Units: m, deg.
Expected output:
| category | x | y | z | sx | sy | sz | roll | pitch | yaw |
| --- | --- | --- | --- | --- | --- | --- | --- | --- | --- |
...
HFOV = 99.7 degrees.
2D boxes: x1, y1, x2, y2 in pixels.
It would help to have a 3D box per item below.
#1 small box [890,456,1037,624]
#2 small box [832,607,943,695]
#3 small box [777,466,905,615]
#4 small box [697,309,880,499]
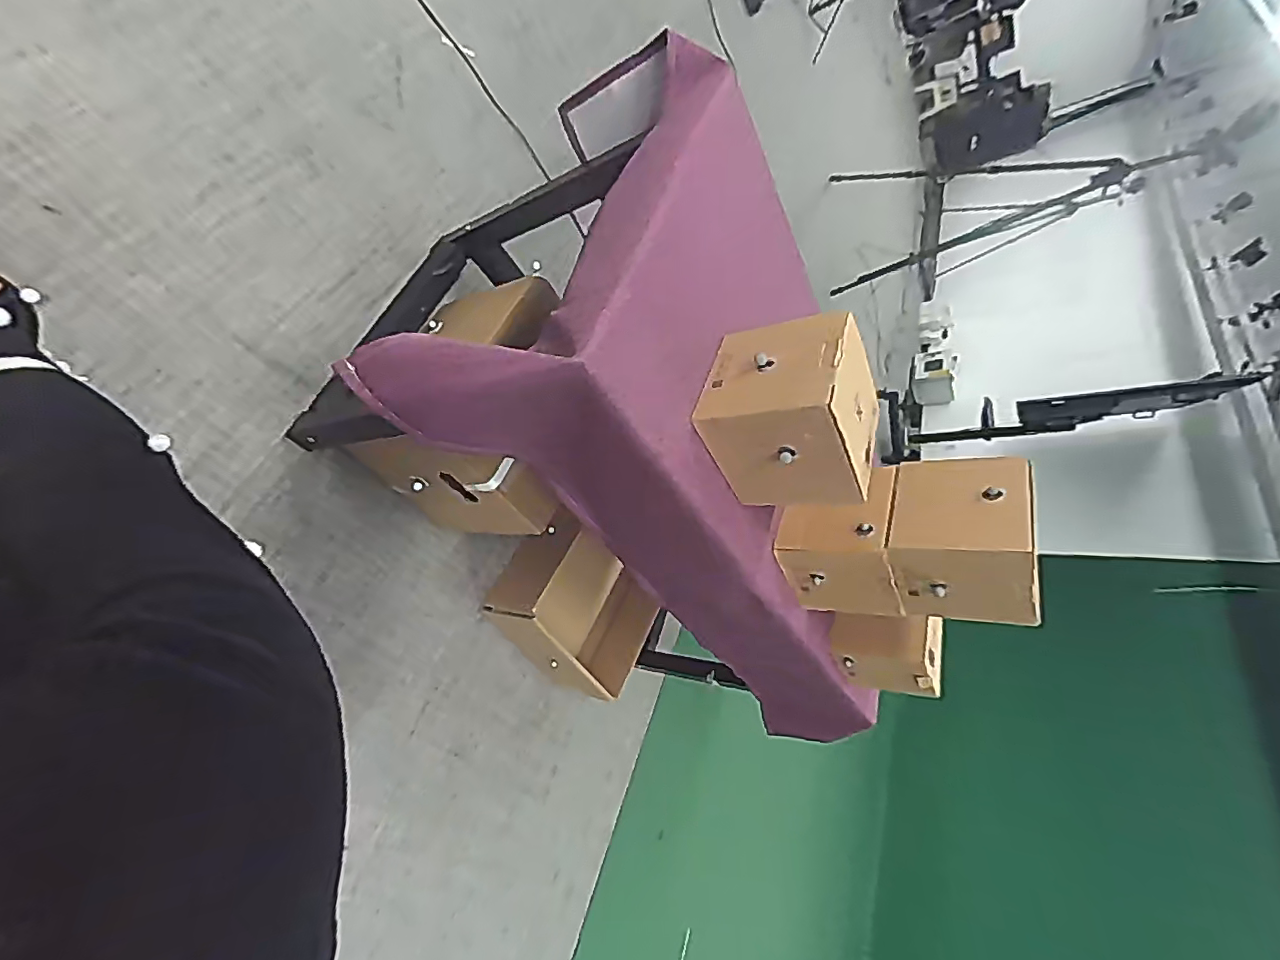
| category | x | y | z | sx | sy | sz | roll | pitch | yaw |
| --- | --- | --- | --- | --- | --- | --- | --- | --- | --- |
| small box | 0.475 | 0.084 | 0.794 | 0.168 | 0.176 | 0.179 | 57 | 47 | -34 |
| small box | 0.494 | 0.300 | 1.079 | 0.168 | 0.176 | 0.179 | 52 | 48 | -38 |
| small box | 0.339 | 0.095 | 0.887 | 0.168 | 0.176 | 0.179 | 56 | 47 | -35 |
| small box | 0.195 | -0.085 | 0.699 | 0.179 | 0.176 | 0.168 | 52 | 50 | -38 |
